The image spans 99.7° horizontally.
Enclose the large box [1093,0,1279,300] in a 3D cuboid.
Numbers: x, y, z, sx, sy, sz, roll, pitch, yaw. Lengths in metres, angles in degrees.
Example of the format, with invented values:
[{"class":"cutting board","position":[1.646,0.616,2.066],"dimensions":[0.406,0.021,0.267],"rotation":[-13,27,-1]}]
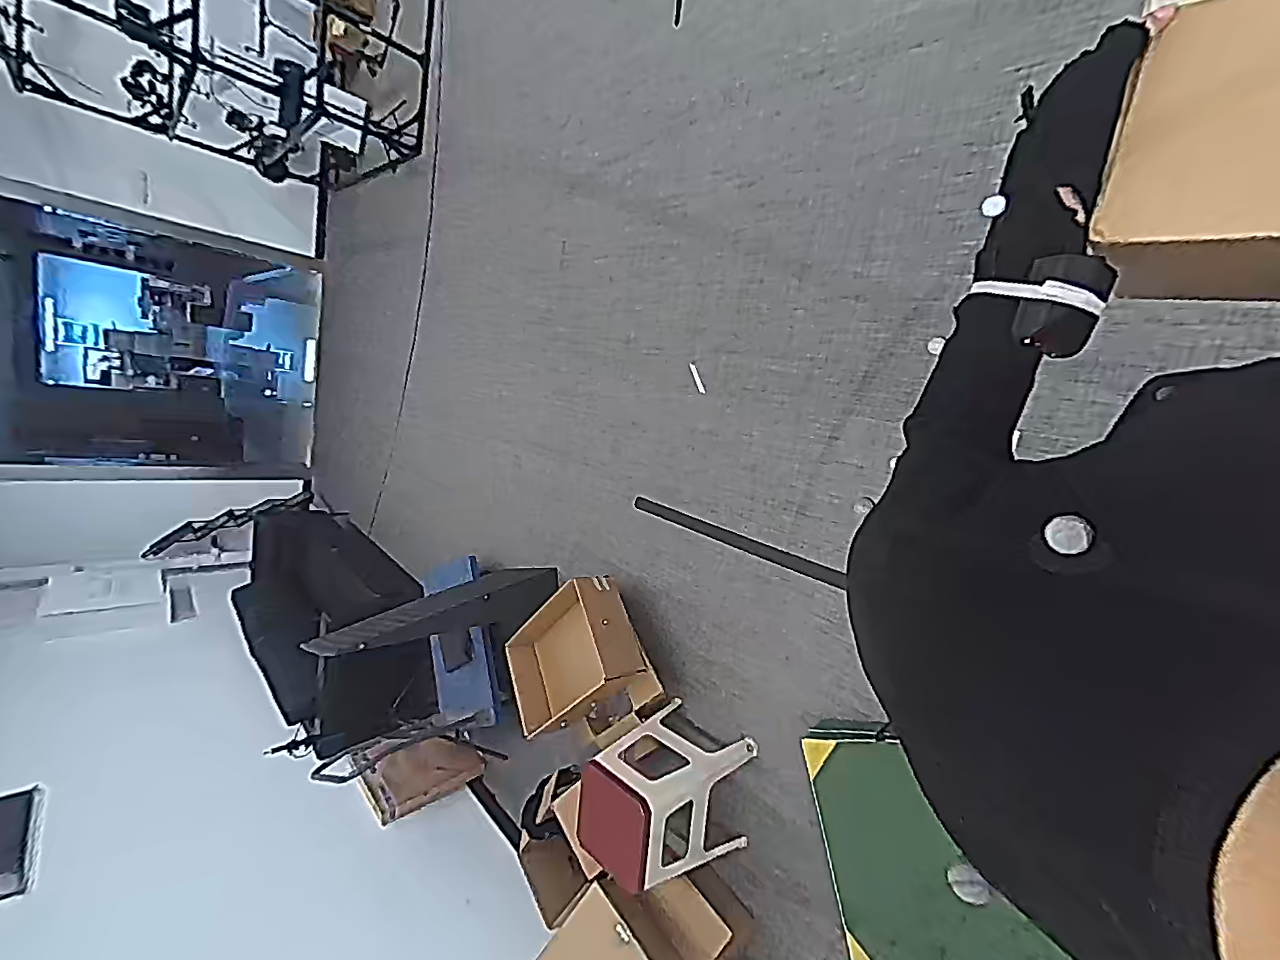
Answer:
[{"class":"large box","position":[0.603,-0.302,0.360],"dimensions":[0.408,0.320,0.320],"rotation":[18,109,41]}]
